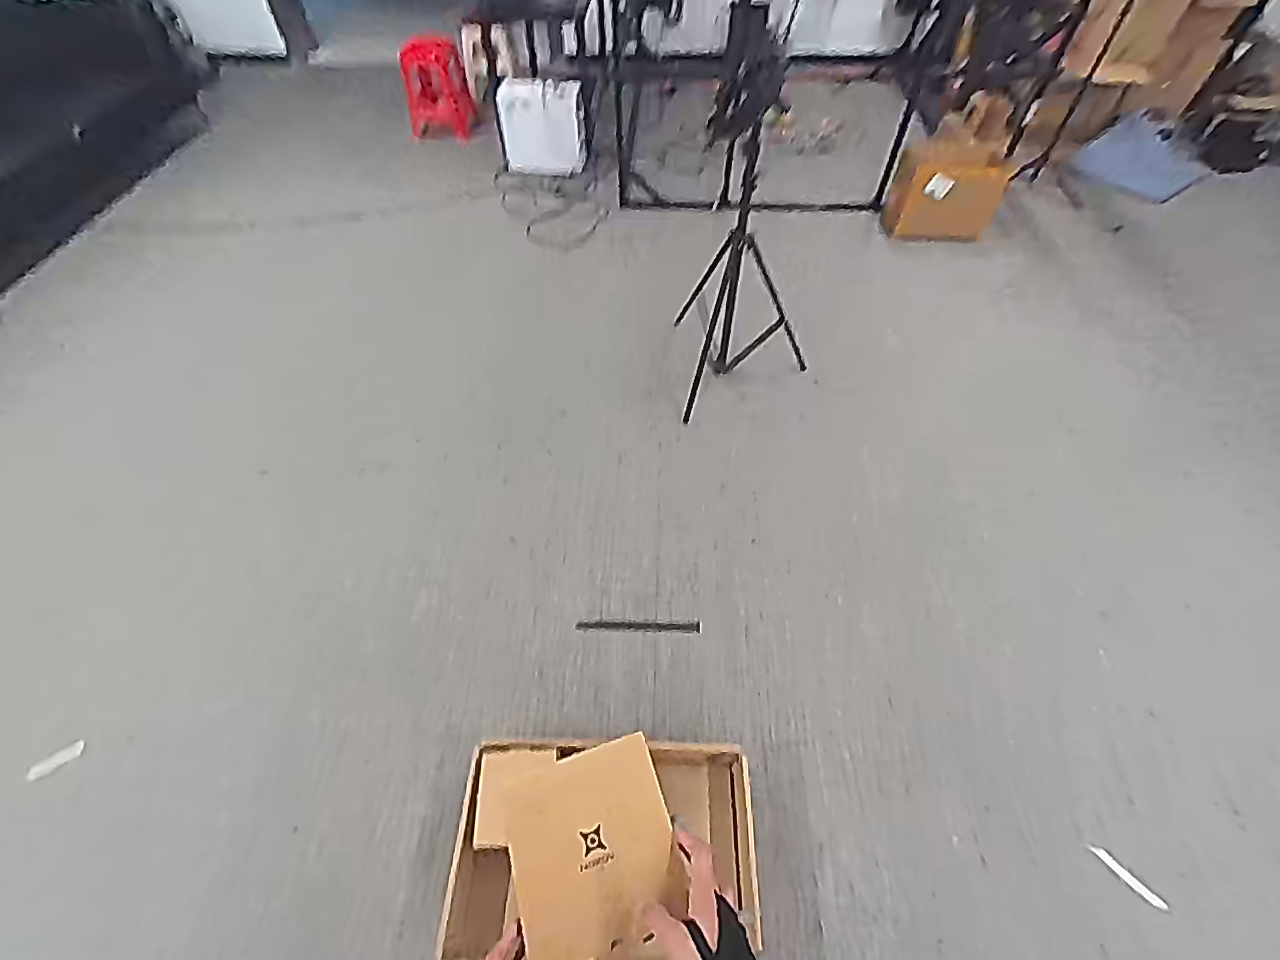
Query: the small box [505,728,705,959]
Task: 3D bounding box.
[{"bbox_3d":[-0.044,0.408,0.604,0.168,0.176,0.179,-15,58,-12],"label":"small box"}]
